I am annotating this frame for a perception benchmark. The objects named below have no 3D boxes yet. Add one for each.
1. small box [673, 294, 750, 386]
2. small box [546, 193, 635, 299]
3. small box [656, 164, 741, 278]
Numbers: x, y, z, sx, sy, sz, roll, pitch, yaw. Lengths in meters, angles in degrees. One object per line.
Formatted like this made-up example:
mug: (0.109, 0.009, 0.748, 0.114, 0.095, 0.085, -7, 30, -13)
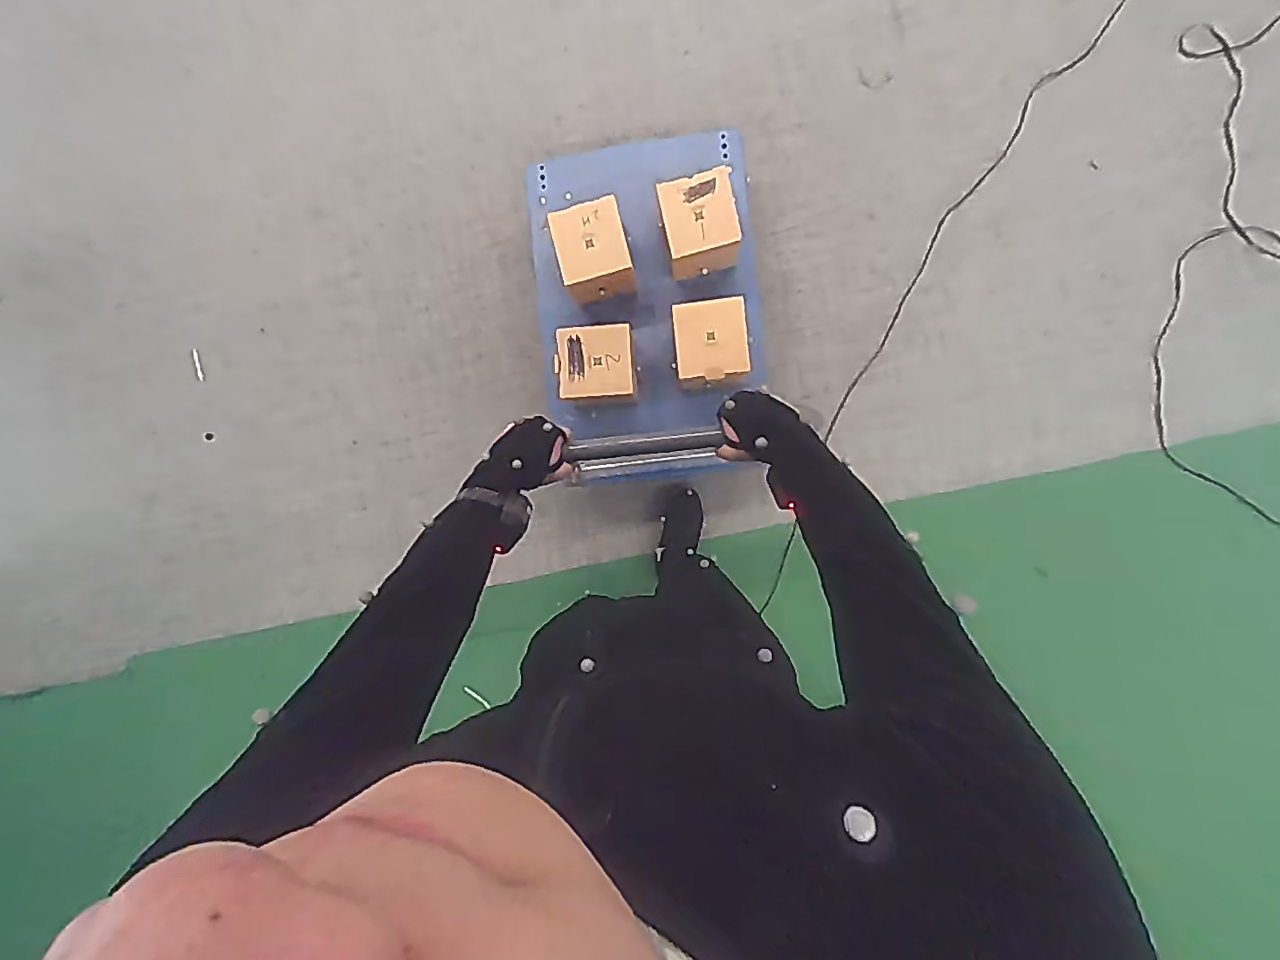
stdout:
small box: (0.169, -0.334, 1.319, 0.168, 0.176, 0.179, -6, 92, 5)
small box: (-0.114, -0.562, 1.332, 0.168, 0.176, 0.179, -14, 91, 4)
small box: (0.139, -0.618, 1.308, 0.168, 0.176, 0.179, -13, 92, 6)
